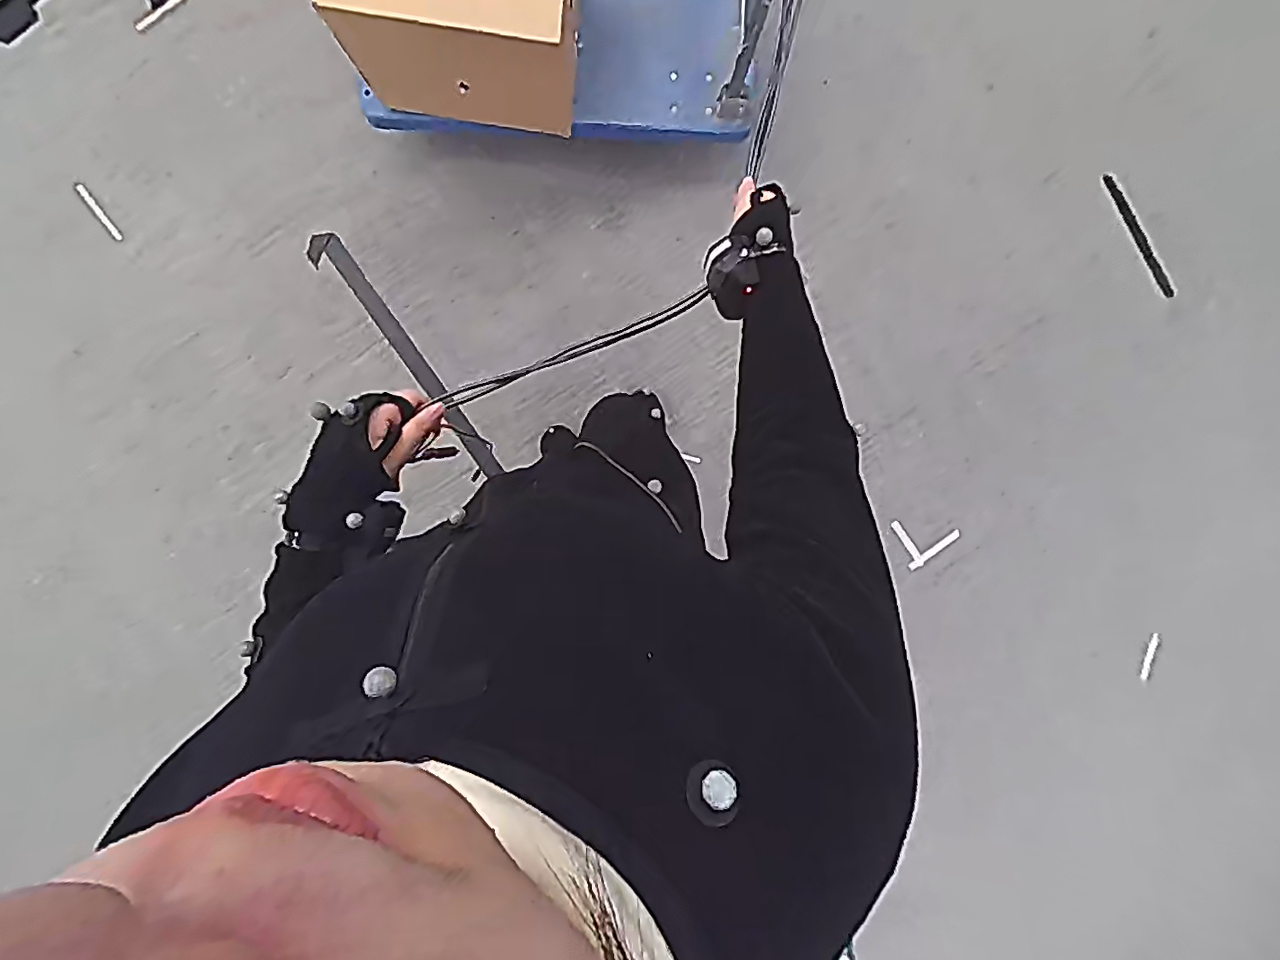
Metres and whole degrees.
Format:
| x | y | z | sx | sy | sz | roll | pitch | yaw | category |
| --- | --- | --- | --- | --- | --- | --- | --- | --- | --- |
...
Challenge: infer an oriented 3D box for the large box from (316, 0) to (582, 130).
| x | y | z | sx | sy | sz | roll | pitch | yaw | category |
| --- | --- | --- | --- | --- | --- | --- | --- | --- | --- |
| -0.320 | -0.911 | 1.013 | 0.408 | 0.320 | 0.320 | 5 | 96 | -4 | large box |
